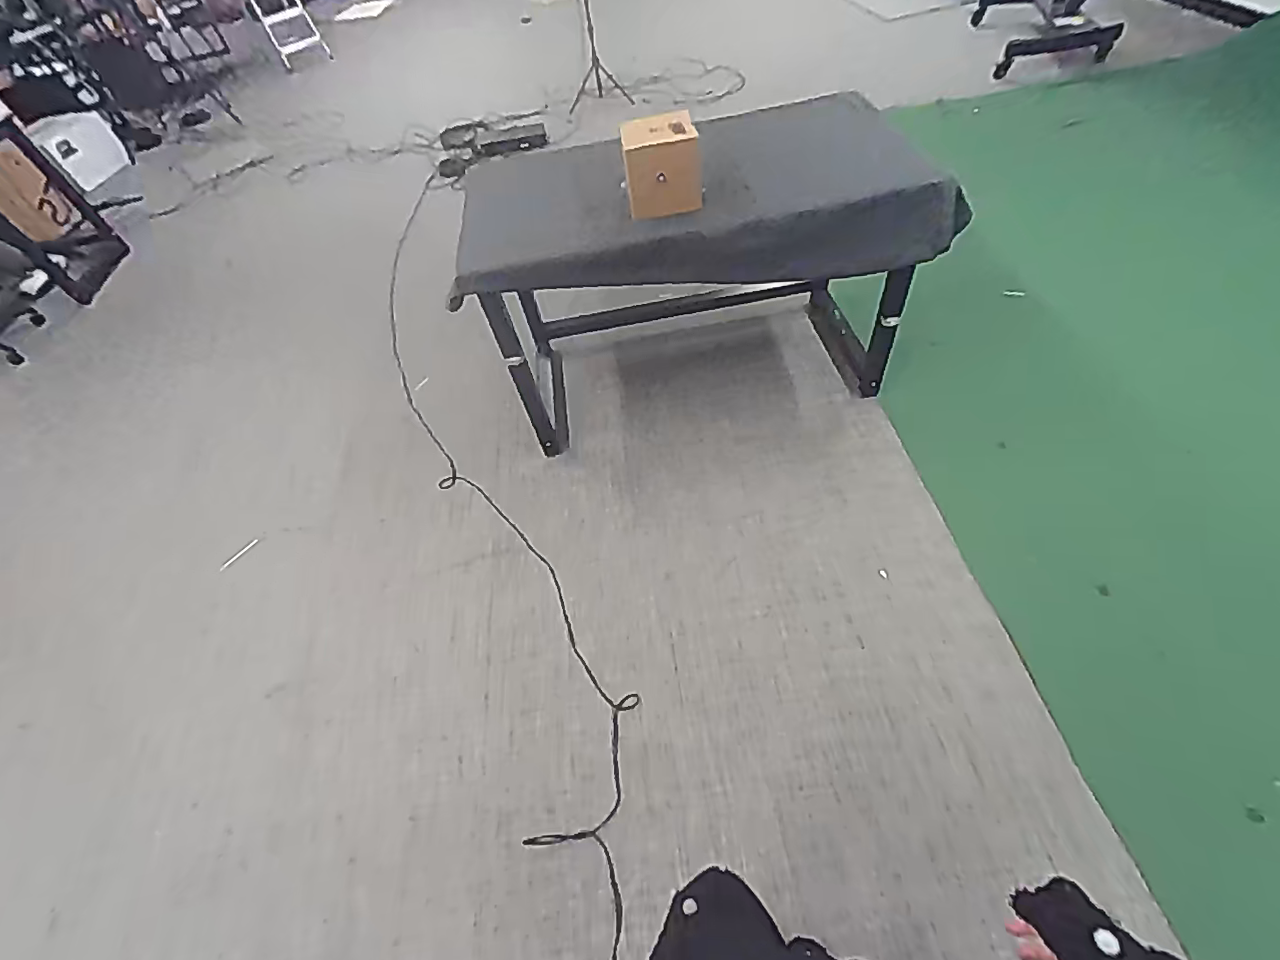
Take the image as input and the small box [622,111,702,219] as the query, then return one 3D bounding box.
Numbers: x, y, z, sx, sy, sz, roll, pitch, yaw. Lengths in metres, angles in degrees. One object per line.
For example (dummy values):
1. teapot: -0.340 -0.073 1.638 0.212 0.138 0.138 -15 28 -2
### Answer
1. small box: 0.056 -0.776 1.337 0.179 0.176 0.168 -9 52 3
